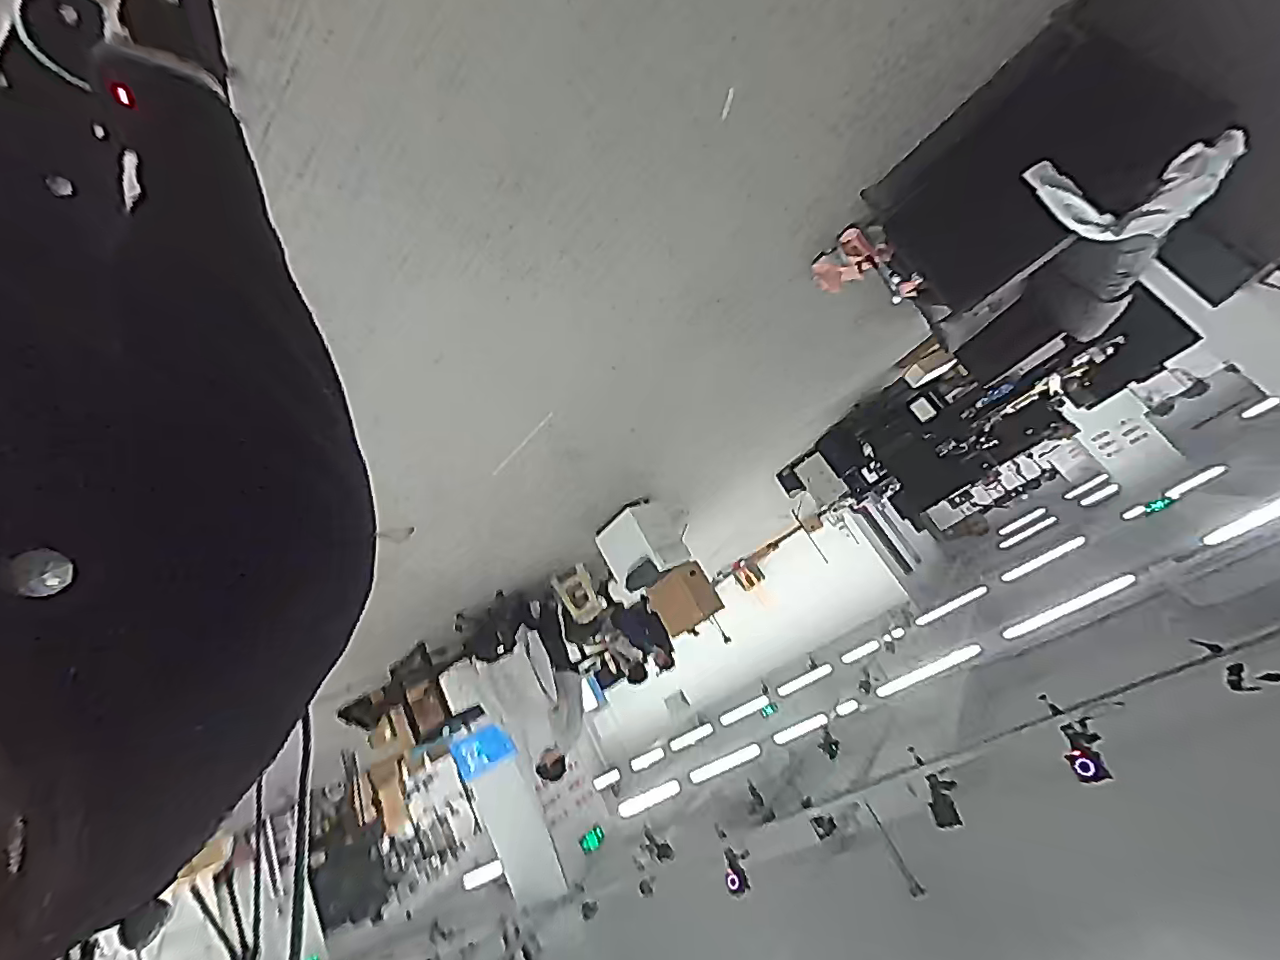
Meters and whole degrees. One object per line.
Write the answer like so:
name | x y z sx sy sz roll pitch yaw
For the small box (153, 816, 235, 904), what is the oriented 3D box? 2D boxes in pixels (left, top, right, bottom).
small box | -1.483 1.252 1.793 0.179 0.176 0.168 -40 159 31
